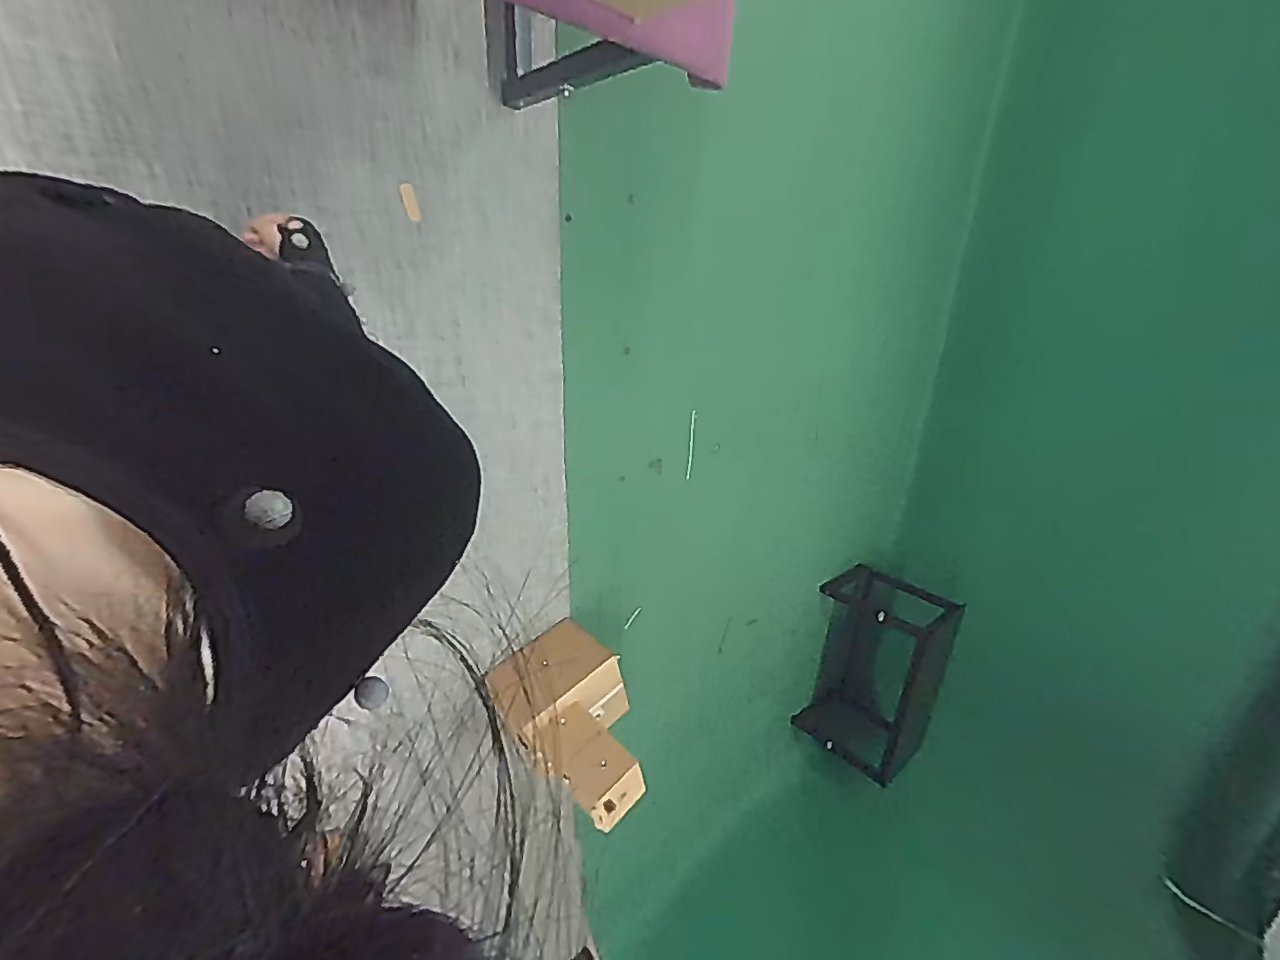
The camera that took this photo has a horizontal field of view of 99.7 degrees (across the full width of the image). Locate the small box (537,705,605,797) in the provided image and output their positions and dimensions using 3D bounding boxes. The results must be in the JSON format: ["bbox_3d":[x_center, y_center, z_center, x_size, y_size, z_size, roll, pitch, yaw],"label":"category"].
[{"bbox_3d":[-0.227,0.900,1.807,0.179,0.176,0.168,-26,124,-34],"label":"small box"}]

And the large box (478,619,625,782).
[{"bbox_3d":[-0.326,0.808,2.030,0.408,0.320,0.320,-32,128,-32],"label":"large box"}]

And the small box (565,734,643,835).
[{"bbox_3d":[-0.118,0.946,1.693,0.179,0.176,0.168,-32,126,-33],"label":"small box"}]
